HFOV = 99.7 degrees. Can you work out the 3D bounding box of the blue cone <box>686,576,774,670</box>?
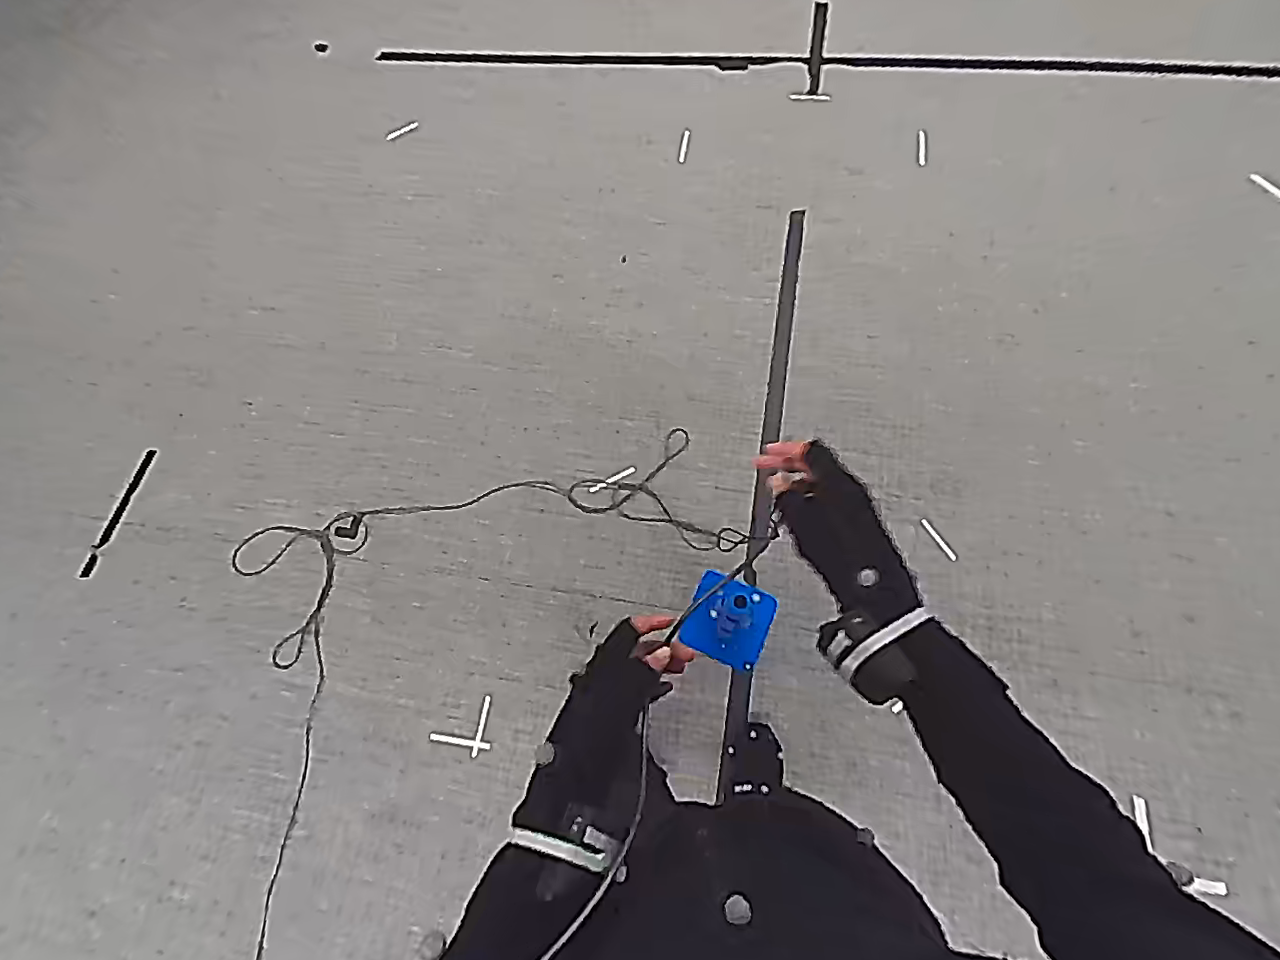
[{"bbox_3d":[0.211,0.295,1.191,0.192,0.380,0.193,24,74,12],"label":"blue cone"}]
